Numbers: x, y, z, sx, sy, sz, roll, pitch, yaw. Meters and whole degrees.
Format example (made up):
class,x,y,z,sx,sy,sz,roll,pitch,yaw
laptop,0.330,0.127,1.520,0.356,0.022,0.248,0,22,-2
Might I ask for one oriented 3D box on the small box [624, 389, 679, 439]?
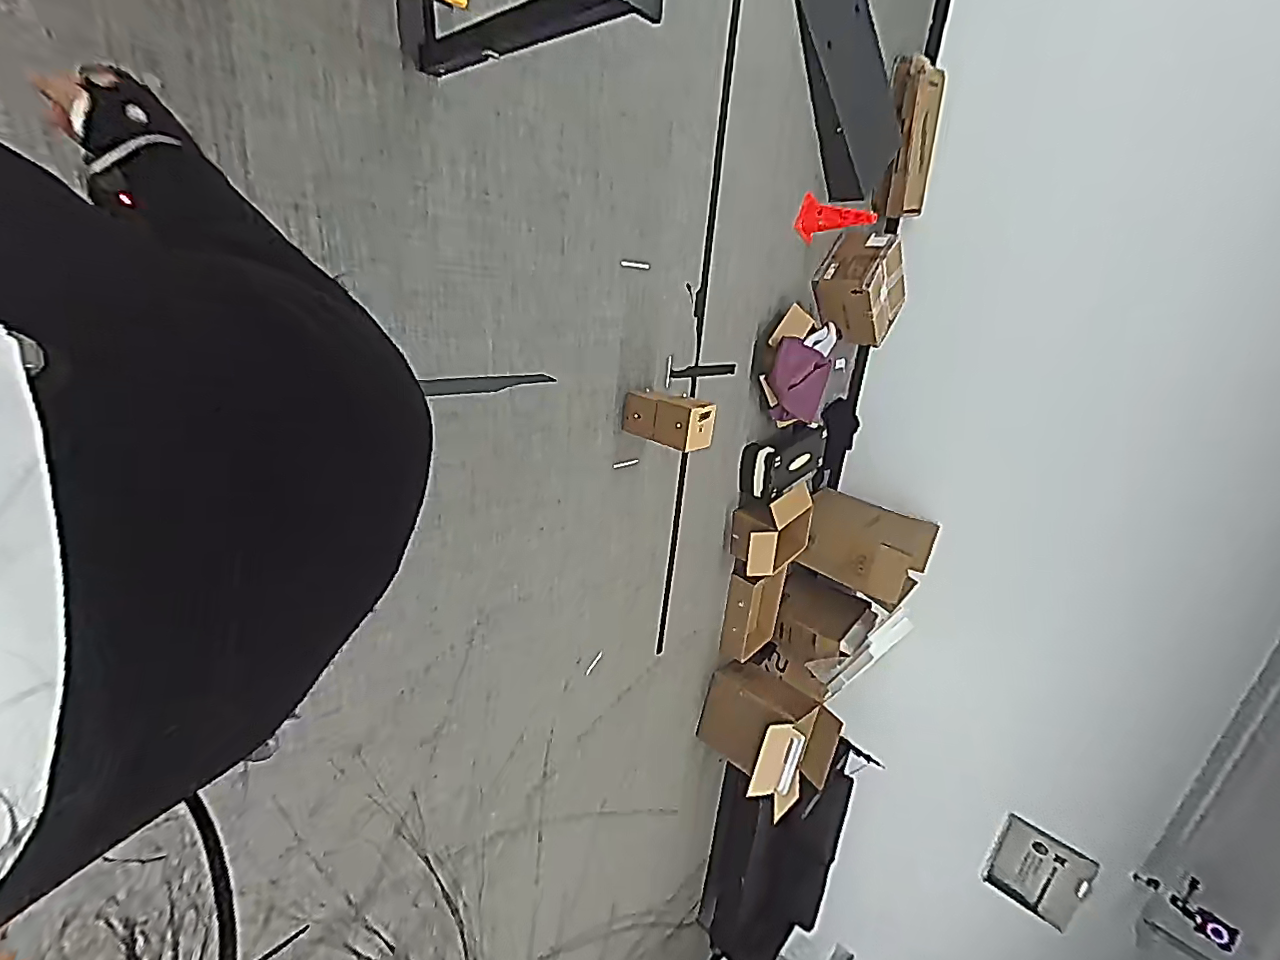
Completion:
class,x,y,z,sx,sy,sz,roll,pitch,yaw
small box,0.053,-0.277,2.240,0.179,0.176,0.168,-14,118,-45

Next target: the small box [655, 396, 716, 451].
class,x,y,z,sx,sy,sz,roll,pitch,yaw
small box,0.175,-0.230,2.137,0.168,0.176,0.179,-17,121,-45
